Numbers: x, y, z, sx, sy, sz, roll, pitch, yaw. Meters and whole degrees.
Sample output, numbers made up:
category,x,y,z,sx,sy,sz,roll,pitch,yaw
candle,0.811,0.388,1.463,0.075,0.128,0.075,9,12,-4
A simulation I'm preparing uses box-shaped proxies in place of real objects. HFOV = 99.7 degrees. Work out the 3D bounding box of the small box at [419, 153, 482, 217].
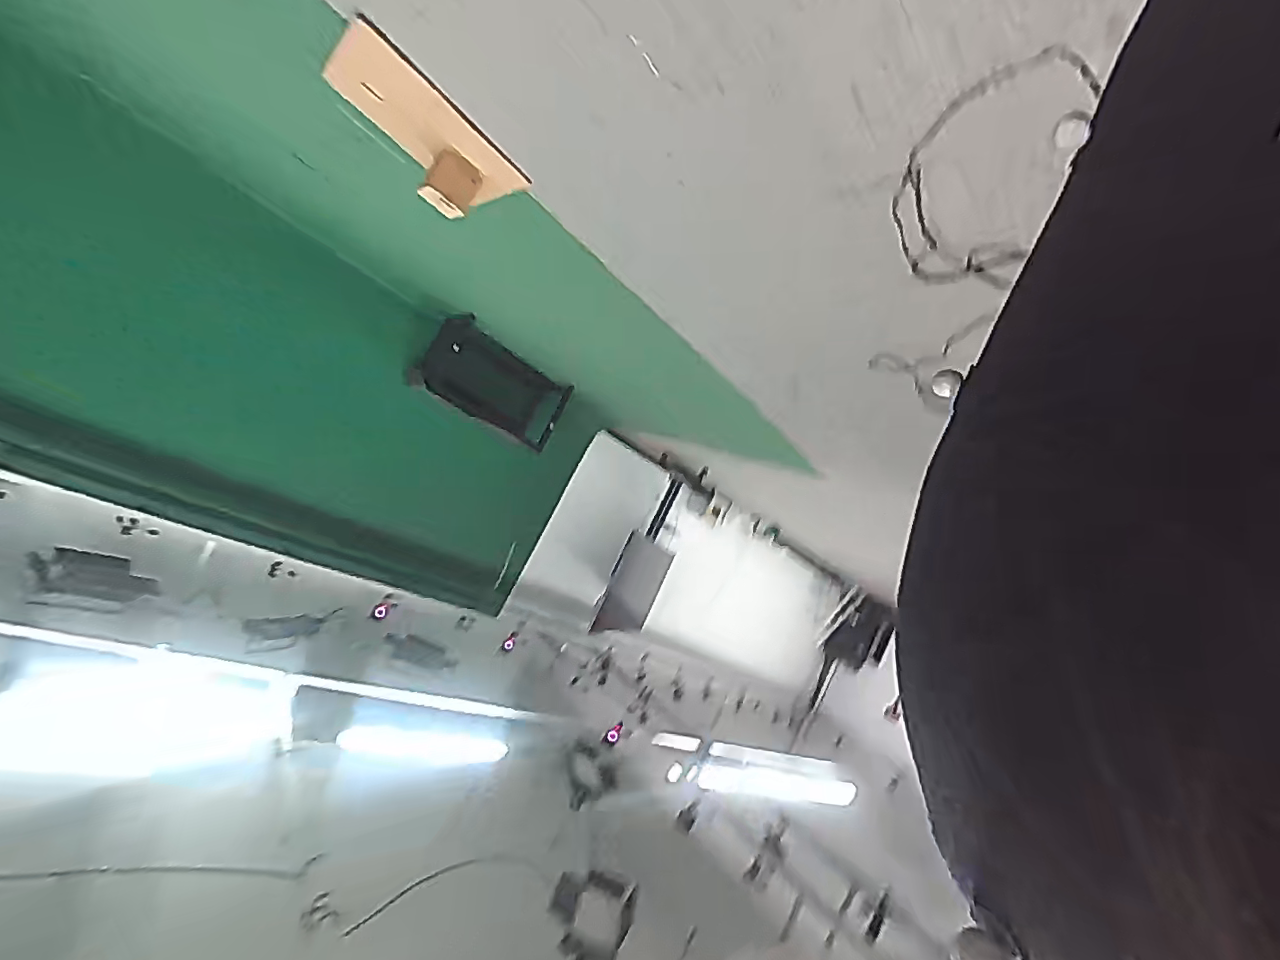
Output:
category,x,y,z,sx,sy,sz,roll,pitch,yaw
small box,-0.790,-1.238,2.267,0.179,0.176,0.168,22,173,47
